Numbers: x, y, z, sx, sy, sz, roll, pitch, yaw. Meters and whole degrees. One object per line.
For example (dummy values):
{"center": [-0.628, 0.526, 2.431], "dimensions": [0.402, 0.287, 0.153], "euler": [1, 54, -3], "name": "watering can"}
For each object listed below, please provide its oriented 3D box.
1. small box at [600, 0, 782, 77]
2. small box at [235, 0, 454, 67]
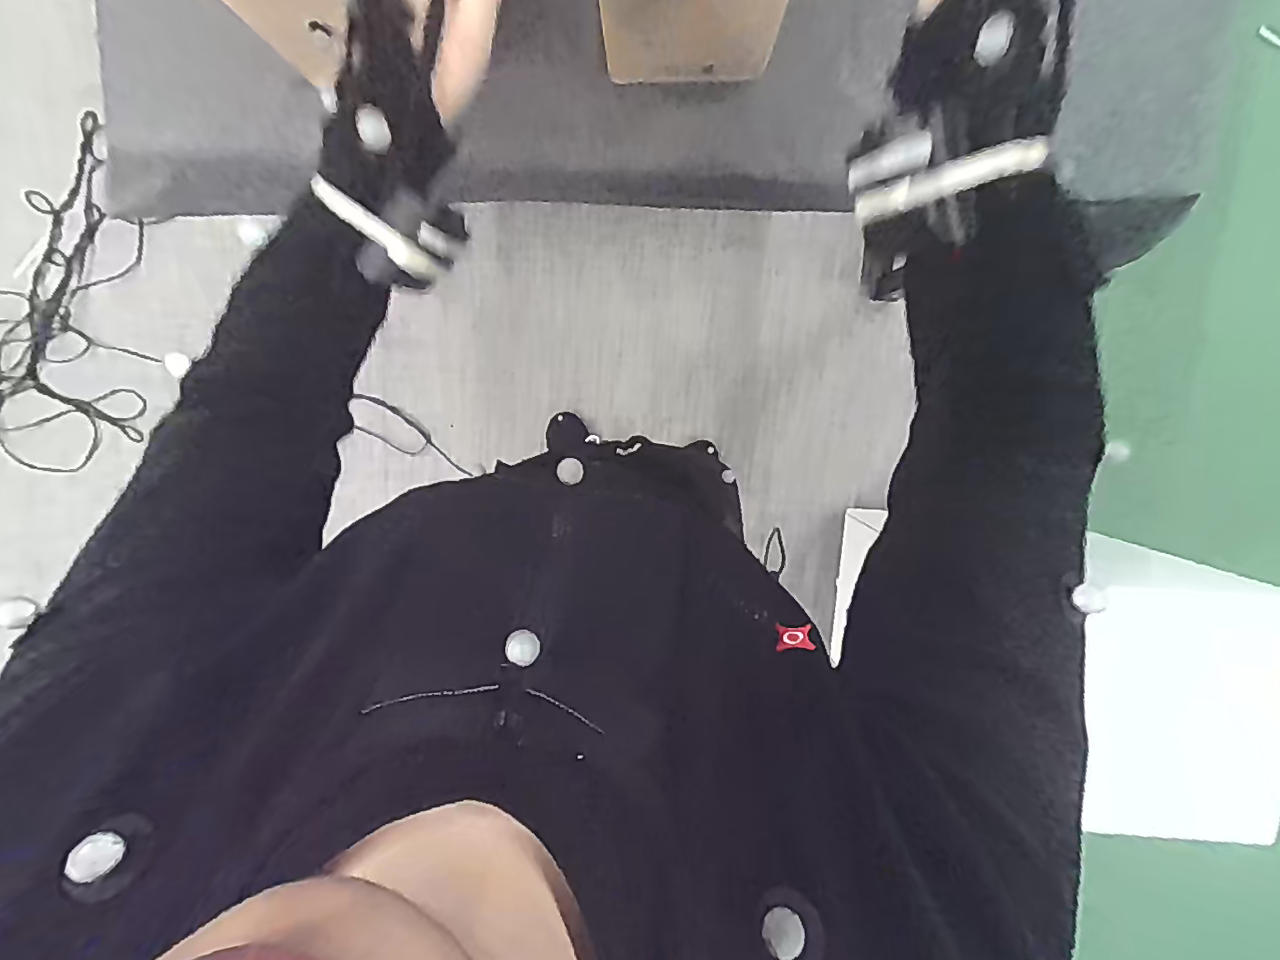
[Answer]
{"center": [0.045, -0.508, 0.486], "dimensions": [0.168, 0.176, 0.179], "euler": [0, 98, 1], "name": "small box"}
{"center": [-0.279, -0.509, 0.487], "dimensions": [0.168, 0.176, 0.179], "euler": [-2, 98, 1], "name": "small box"}
